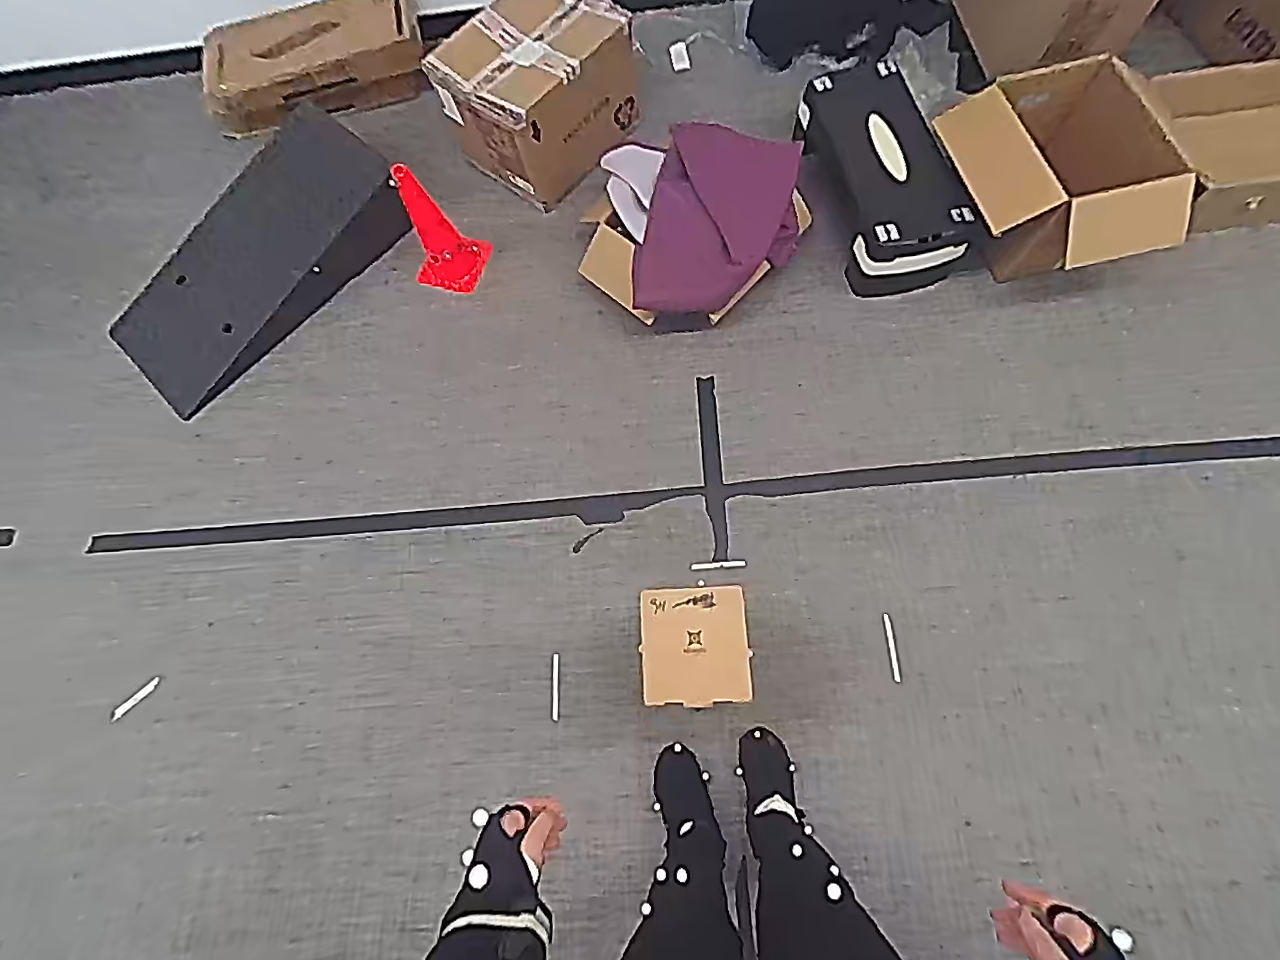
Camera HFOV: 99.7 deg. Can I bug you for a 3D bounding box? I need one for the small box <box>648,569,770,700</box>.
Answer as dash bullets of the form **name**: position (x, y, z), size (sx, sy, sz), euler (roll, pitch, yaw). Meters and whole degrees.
- **small box**: position (0.102, 0.237, 0.836), size (0.168, 0.176, 0.179), euler (-4, 72, 4)
